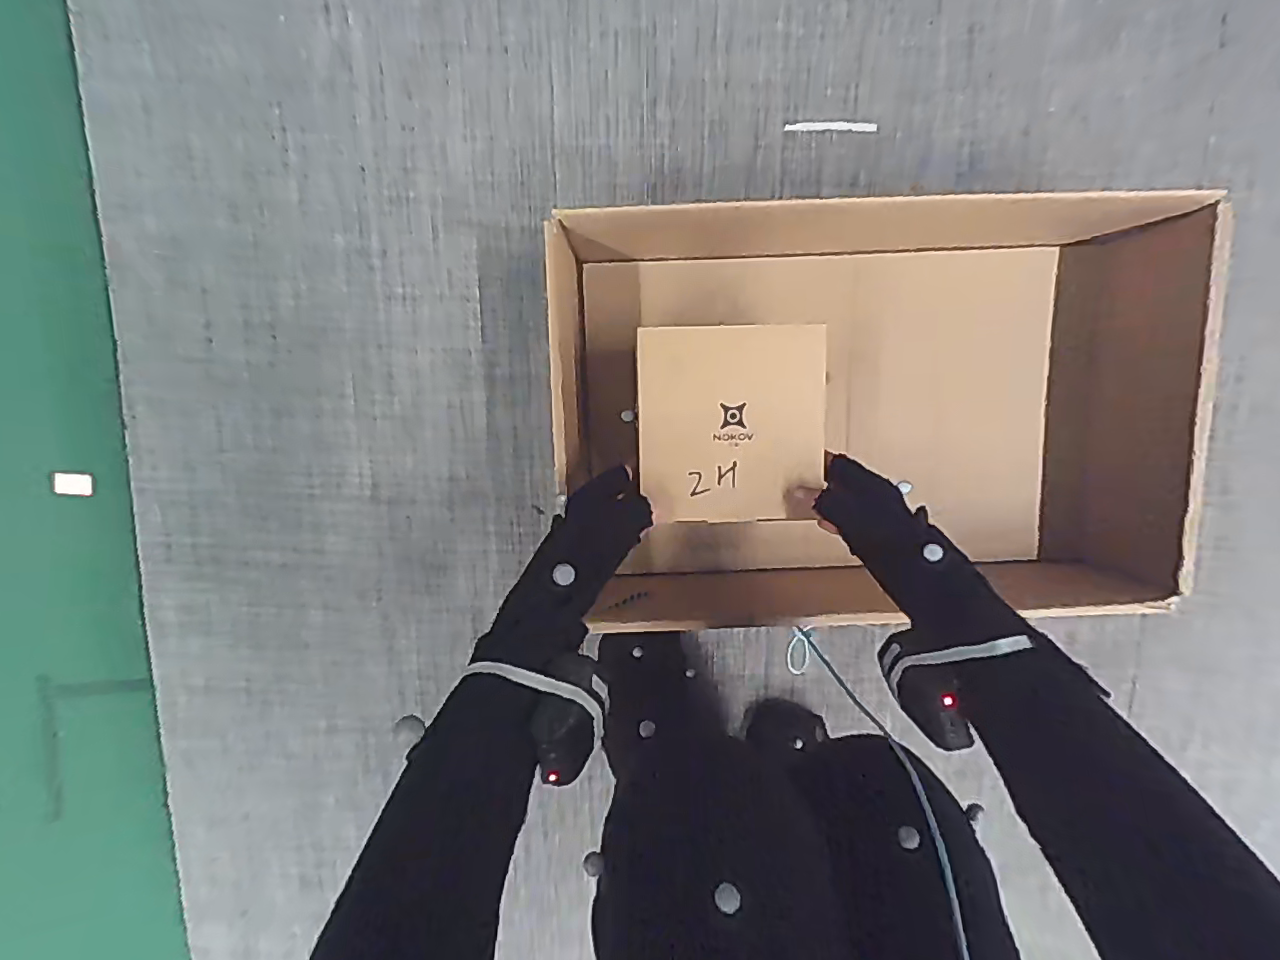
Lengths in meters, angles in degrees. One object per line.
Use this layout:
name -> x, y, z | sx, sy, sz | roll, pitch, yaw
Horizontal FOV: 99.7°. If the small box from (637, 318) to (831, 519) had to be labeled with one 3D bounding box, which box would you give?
small box -> 0.081, -0.061, 0.550 | 0.168, 0.176, 0.179 | 0, 98, 0
